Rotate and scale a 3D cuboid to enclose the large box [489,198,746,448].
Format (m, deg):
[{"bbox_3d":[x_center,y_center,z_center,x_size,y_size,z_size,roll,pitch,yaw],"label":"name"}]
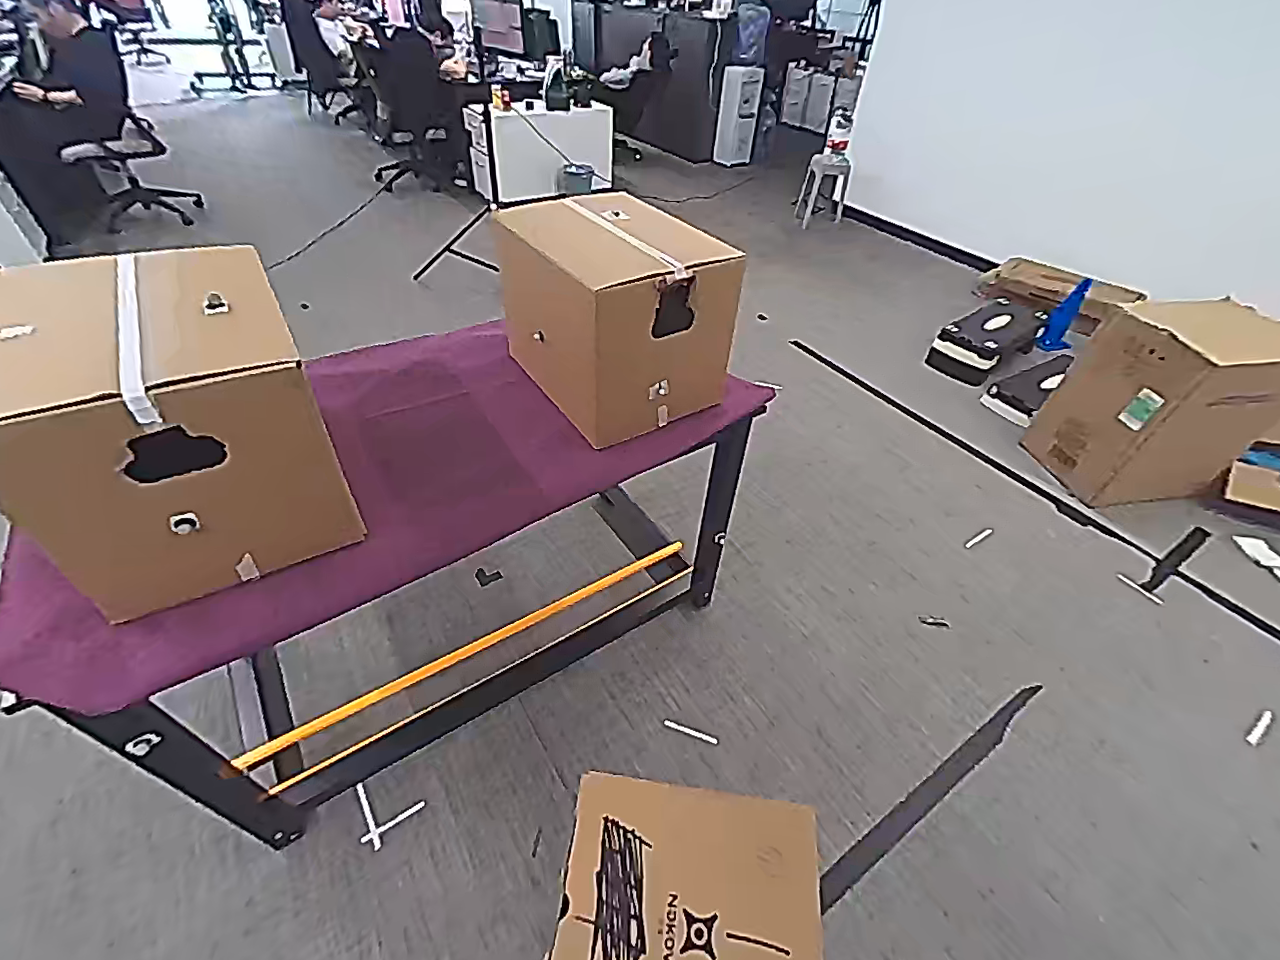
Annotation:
[{"bbox_3d":[-0.055,-0.327,1.077,0.320,0.320,0.408,-23,48,-27],"label":"large box"}]

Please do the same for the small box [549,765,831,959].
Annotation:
[{"bbox_3d":[0.036,0.337,0.406,0.179,0.176,0.168,6,50,7],"label":"small box"}]
